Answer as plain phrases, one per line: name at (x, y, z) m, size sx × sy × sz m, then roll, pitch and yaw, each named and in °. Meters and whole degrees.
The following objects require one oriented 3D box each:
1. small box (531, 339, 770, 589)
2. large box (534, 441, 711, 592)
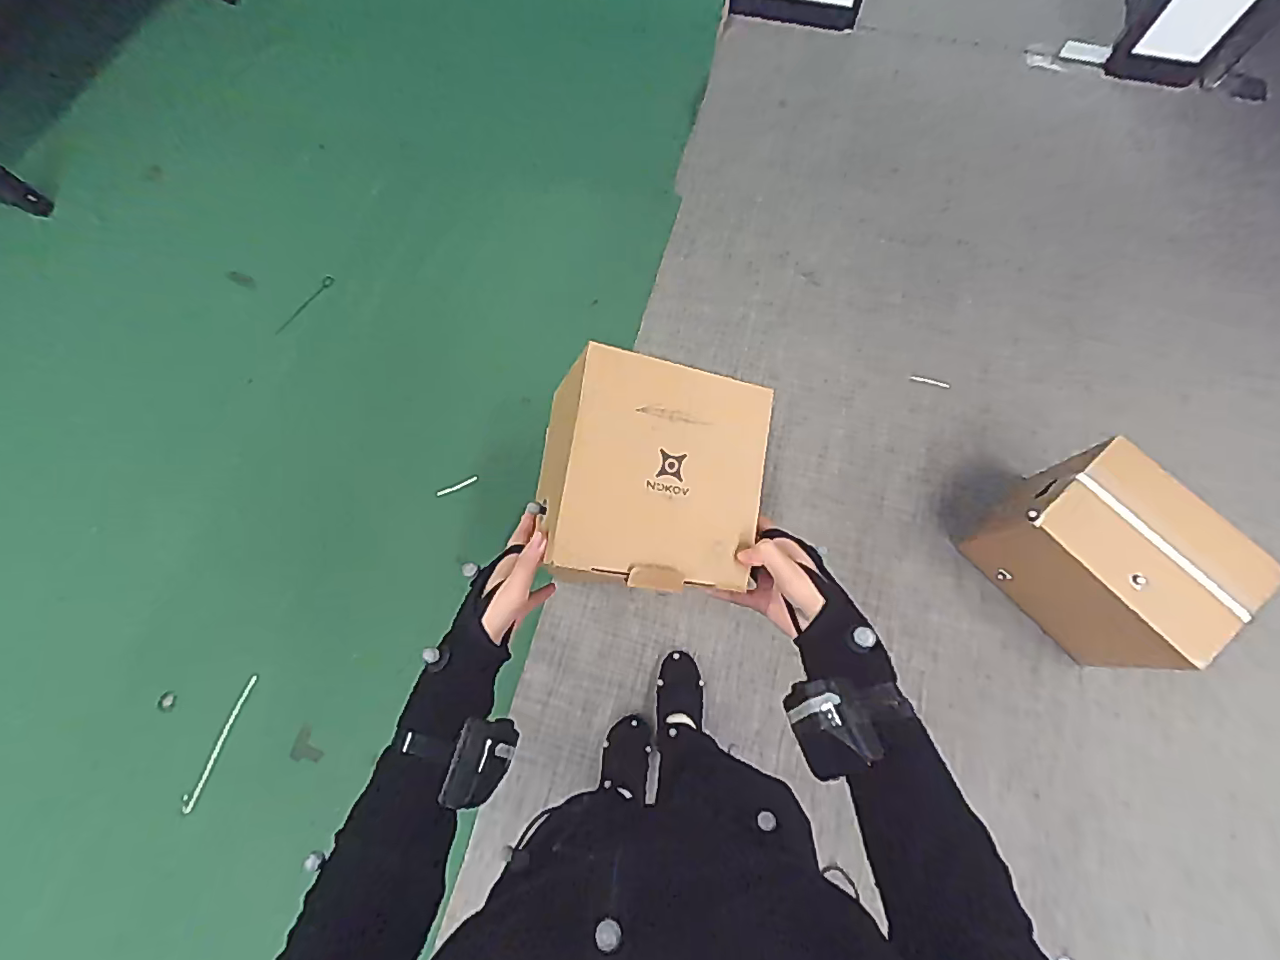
small box at (-0.002, -0.003, 0.507) m, size 0.168 × 0.176 × 0.179 m, roll 12°, pitch 80°, yaw -17°
large box at (-0.017, 0.100, 1.321) m, size 0.408 × 0.320 × 0.320 m, roll 2°, pitch 70°, yaw 3°
